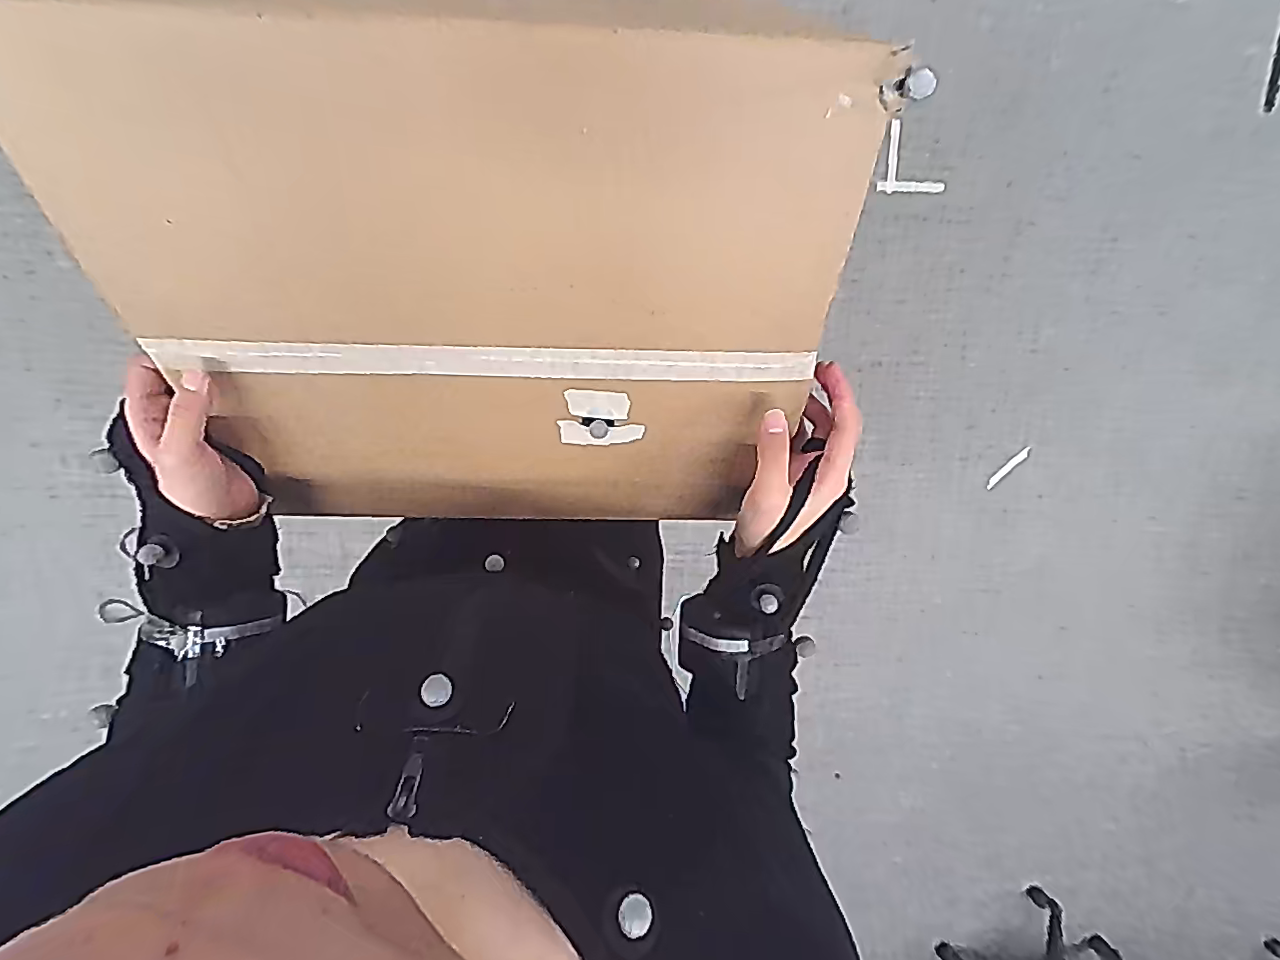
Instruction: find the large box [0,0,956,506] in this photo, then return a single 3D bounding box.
[{"bbox_3d":[-0.082,-0.196,0.413,0.408,0.320,0.320,0,137,-3],"label":"large box"}]
